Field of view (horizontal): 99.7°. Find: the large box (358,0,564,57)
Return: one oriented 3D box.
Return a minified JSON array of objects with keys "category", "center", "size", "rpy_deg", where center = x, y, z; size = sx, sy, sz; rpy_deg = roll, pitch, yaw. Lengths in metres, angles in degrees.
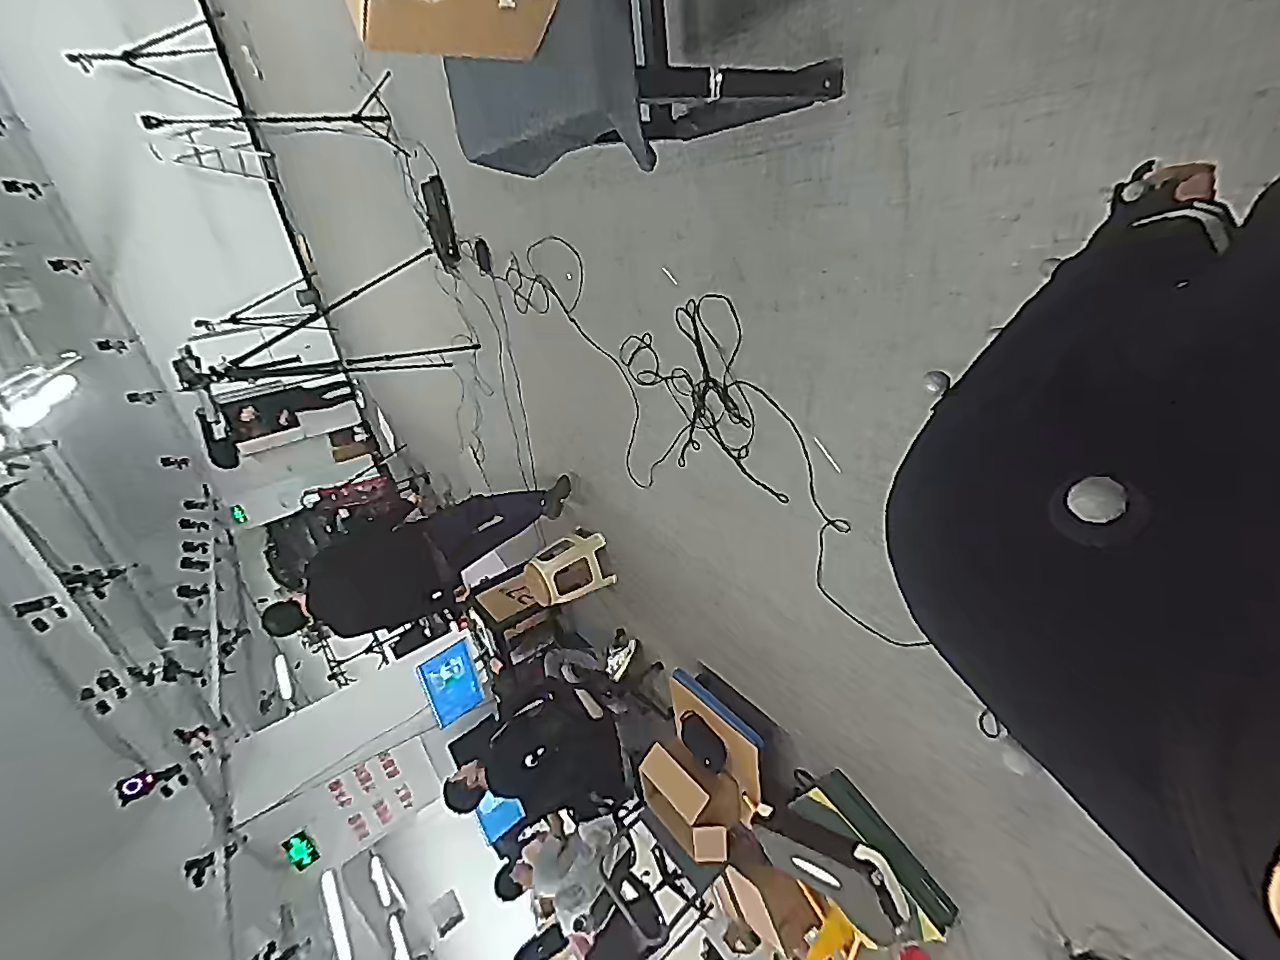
[{"category":"large box","center":[-0.306,-0.956,0.816],"size":[0.320,0.320,0.408],"rpy_deg":[-15,96,59]}]
